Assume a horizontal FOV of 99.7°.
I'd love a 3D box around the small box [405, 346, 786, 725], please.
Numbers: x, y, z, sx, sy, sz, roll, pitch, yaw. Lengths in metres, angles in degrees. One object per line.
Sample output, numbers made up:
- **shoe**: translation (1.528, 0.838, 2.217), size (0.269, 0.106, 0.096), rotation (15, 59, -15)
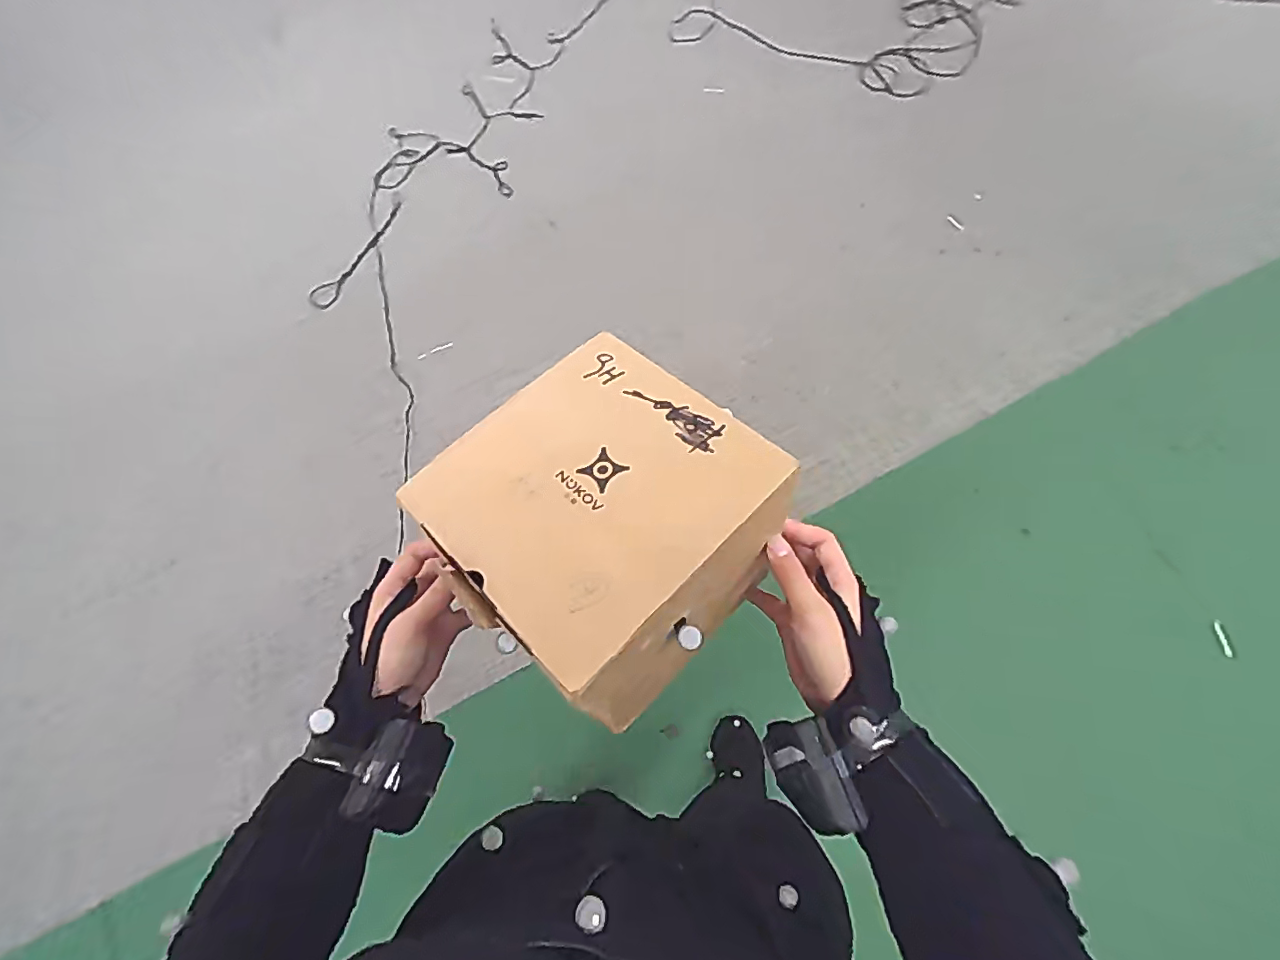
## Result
- **small box**: translation (-0.020, 0.047, 0.388), size (0.168, 0.176, 0.179), rotation (39, 71, 25)
